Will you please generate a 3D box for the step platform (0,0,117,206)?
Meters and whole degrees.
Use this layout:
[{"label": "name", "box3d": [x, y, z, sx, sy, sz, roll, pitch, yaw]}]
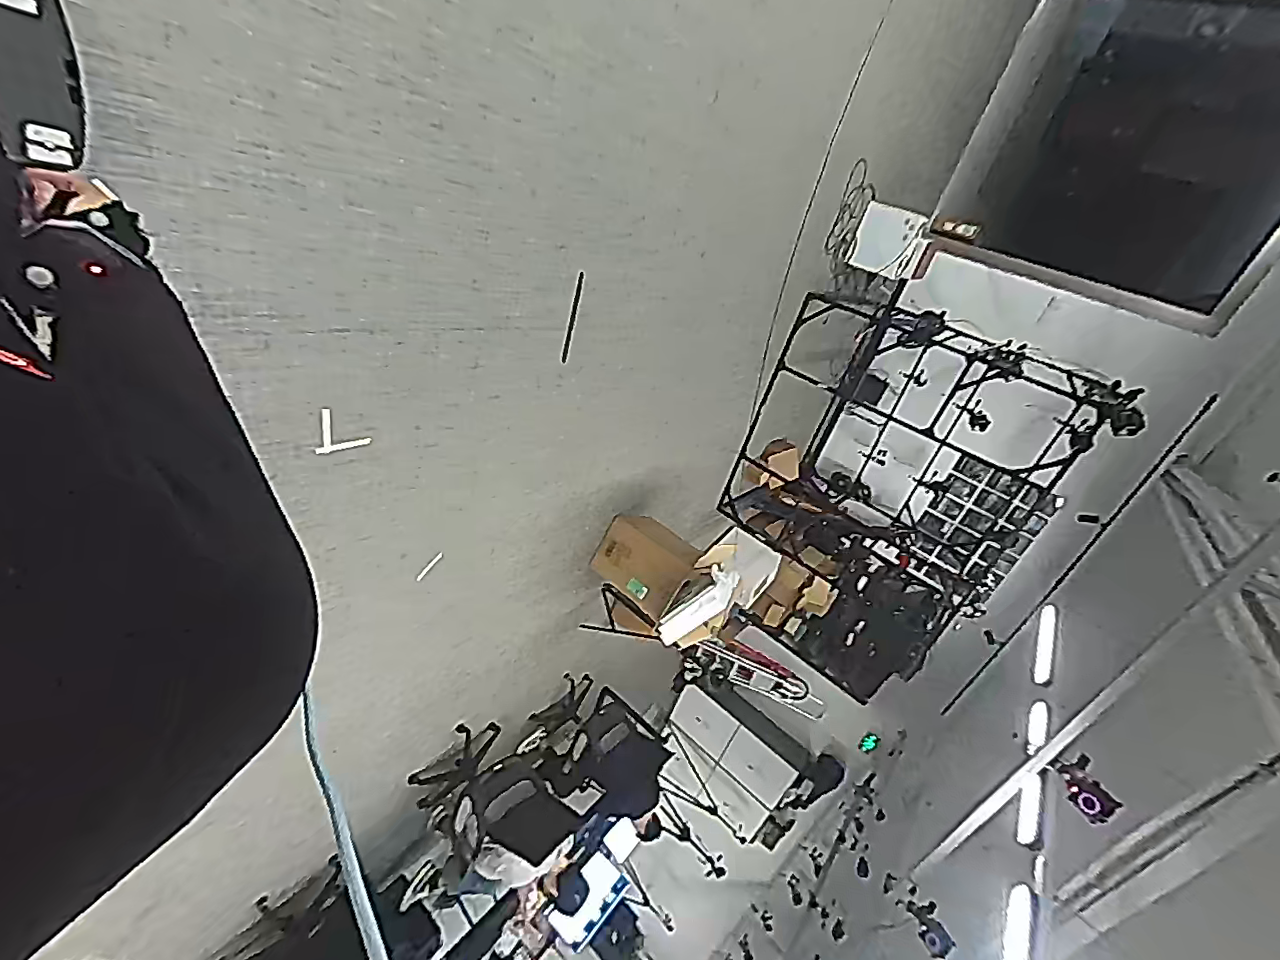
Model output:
[{"label": "step platform", "box3d": [-1.146, -0.591, 0.693, 0.684, 0.204, 0.286, -16, 132, -54]}]
